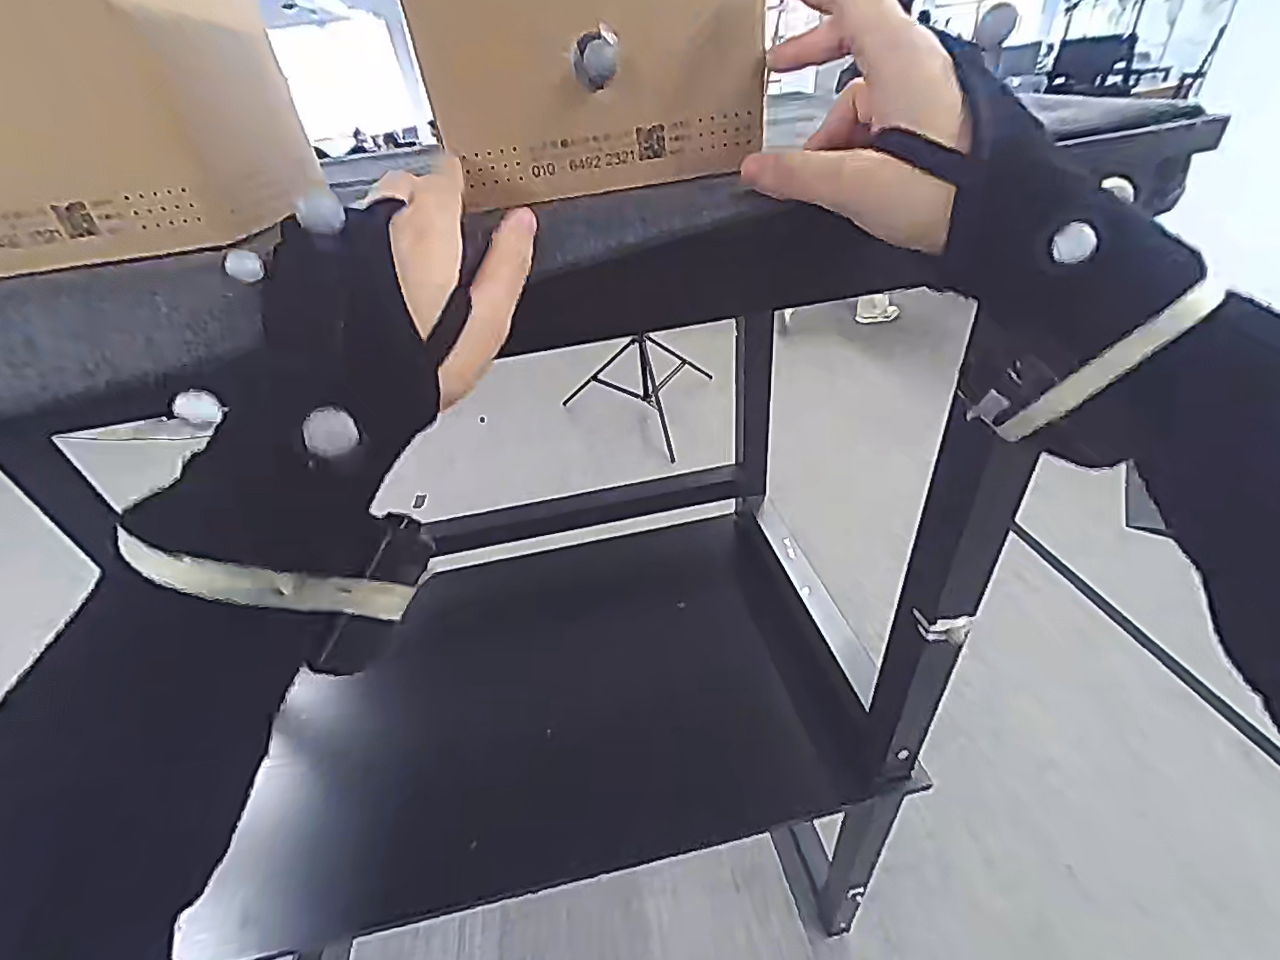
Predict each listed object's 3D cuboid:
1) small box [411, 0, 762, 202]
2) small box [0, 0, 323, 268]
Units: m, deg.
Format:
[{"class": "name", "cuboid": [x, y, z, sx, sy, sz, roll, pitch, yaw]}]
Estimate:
[{"class": "small box", "cuboid": [-0.035, -0.269, 0.310, 0.168, 0.176, 0.179, -11, 36, -3]}, {"class": "small box", "cuboid": [-0.304, -0.217, 0.287, 0.168, 0.176, 0.179, -11, 35, -5]}]
